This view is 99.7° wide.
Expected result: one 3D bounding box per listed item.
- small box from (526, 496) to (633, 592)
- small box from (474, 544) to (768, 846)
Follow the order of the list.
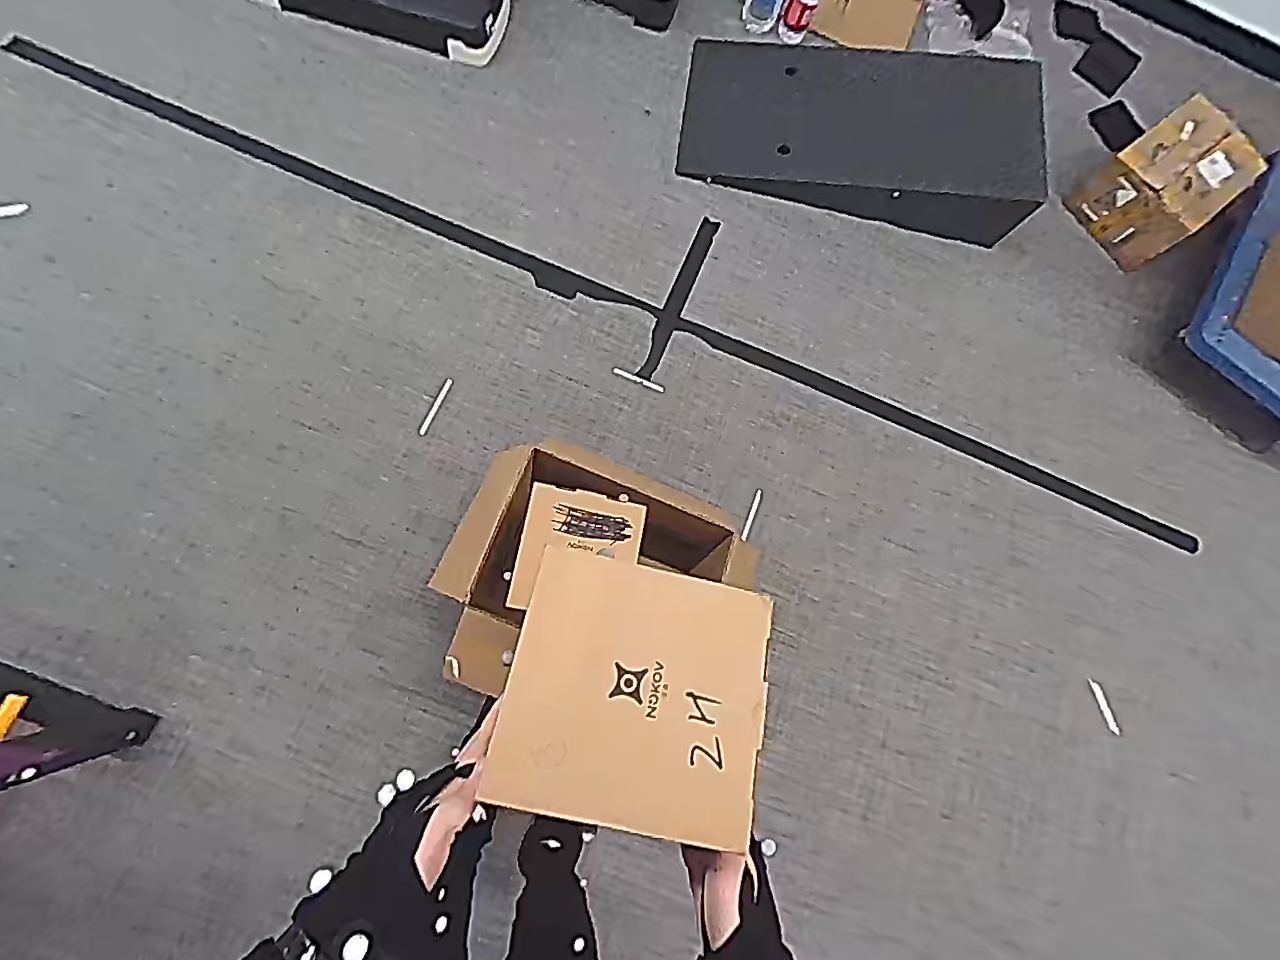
[{"bbox_3d":[-0.114,0.128,0.988,0.179,0.176,0.168,3,79,-11],"label":"small box"},{"bbox_3d":[-0.015,0.170,0.441,0.179,0.176,0.168,14,66,-4],"label":"small box"}]
